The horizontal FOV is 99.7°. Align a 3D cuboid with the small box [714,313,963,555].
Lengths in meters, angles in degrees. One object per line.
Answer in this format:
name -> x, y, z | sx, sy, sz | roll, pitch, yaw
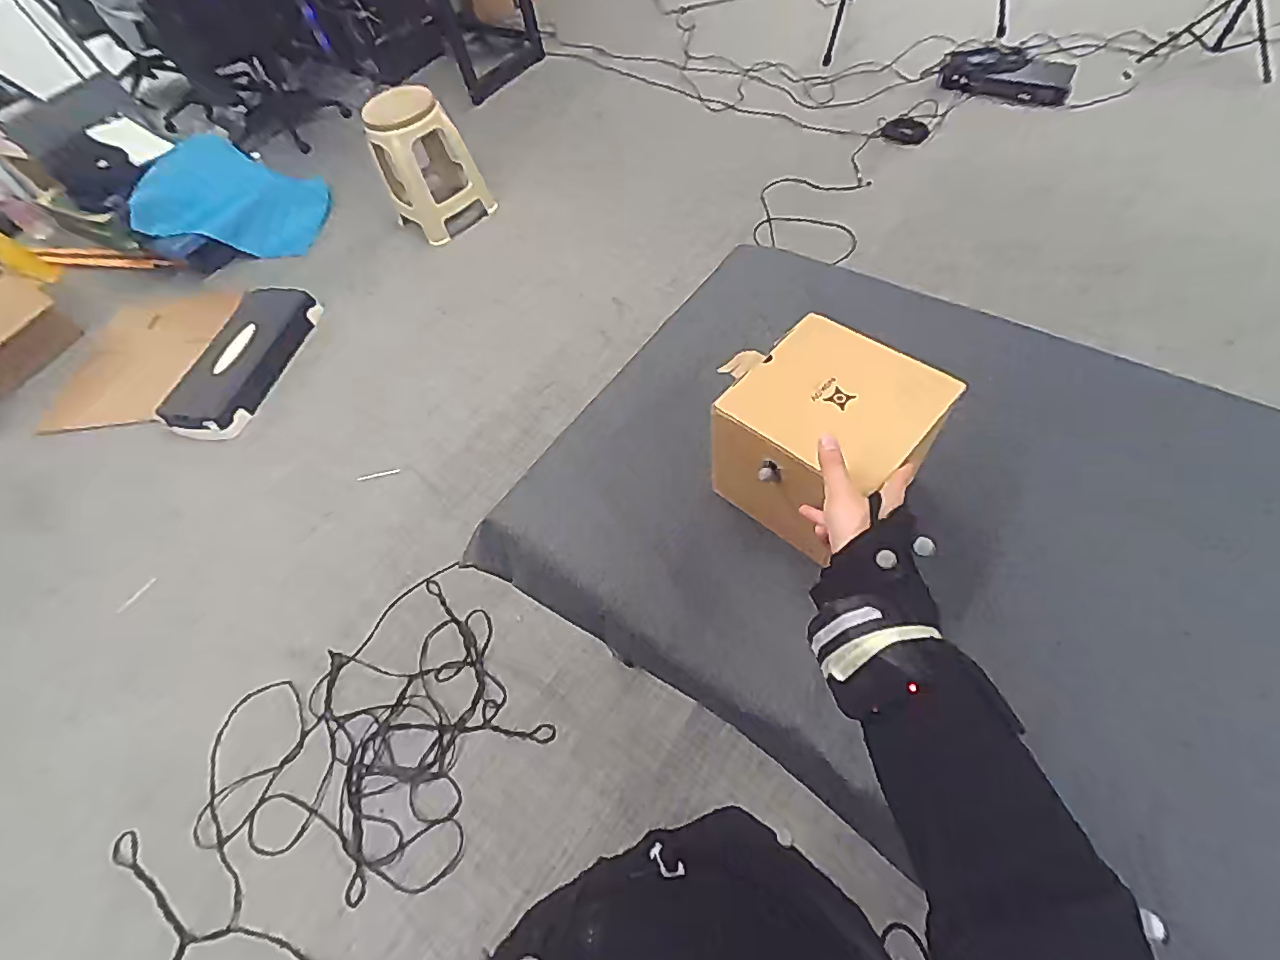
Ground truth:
small box -> 0.200, -0.040, 0.590 | 0.179, 0.176, 0.168 | 37, 70, 27
